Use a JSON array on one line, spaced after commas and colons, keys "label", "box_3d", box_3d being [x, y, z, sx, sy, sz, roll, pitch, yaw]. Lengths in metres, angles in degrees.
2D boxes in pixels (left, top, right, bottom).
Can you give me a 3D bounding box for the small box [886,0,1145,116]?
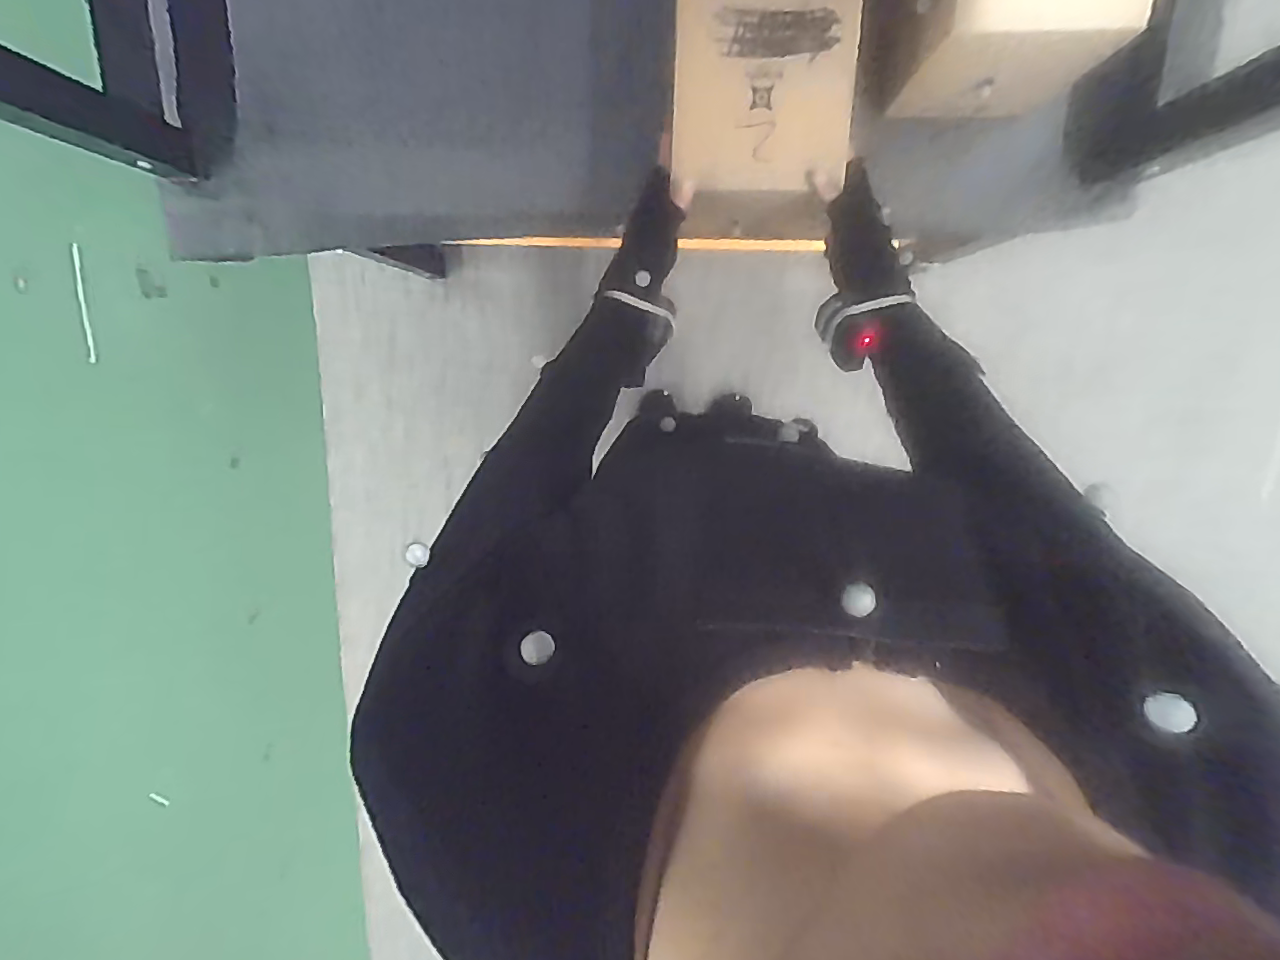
[{"label": "small box", "box_3d": [0.363, -0.492, 0.539, 0.168, 0.176, 0.179, 2, 101, 3]}]
